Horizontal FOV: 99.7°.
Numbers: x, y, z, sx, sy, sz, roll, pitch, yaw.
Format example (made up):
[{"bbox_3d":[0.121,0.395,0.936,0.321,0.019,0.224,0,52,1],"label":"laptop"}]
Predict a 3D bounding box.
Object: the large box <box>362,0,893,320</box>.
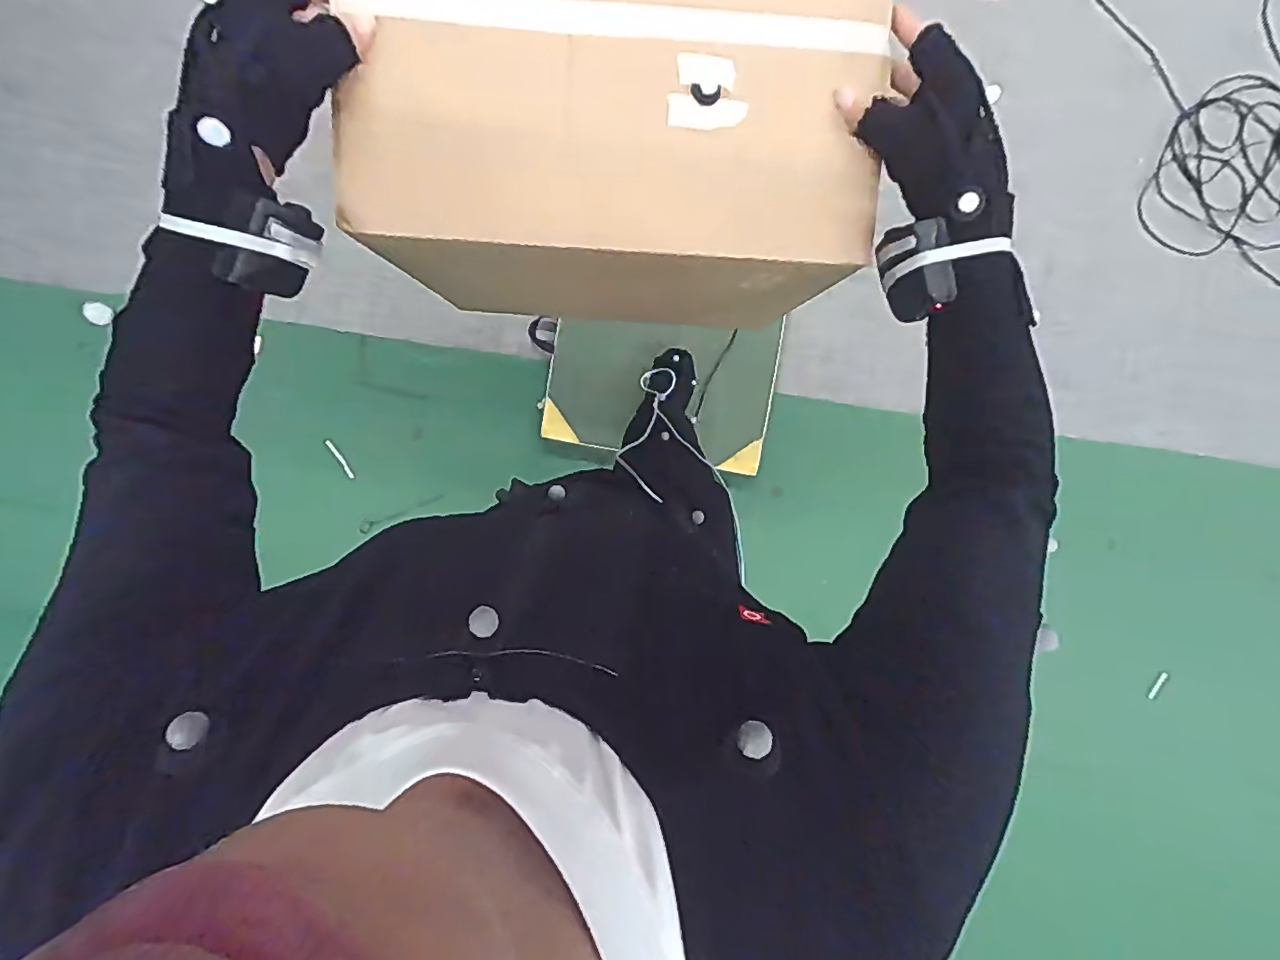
[{"bbox_3d":[-0.016,-0.354,0.554,0.408,0.320,0.320,2,97,-4],"label":"large box"}]
